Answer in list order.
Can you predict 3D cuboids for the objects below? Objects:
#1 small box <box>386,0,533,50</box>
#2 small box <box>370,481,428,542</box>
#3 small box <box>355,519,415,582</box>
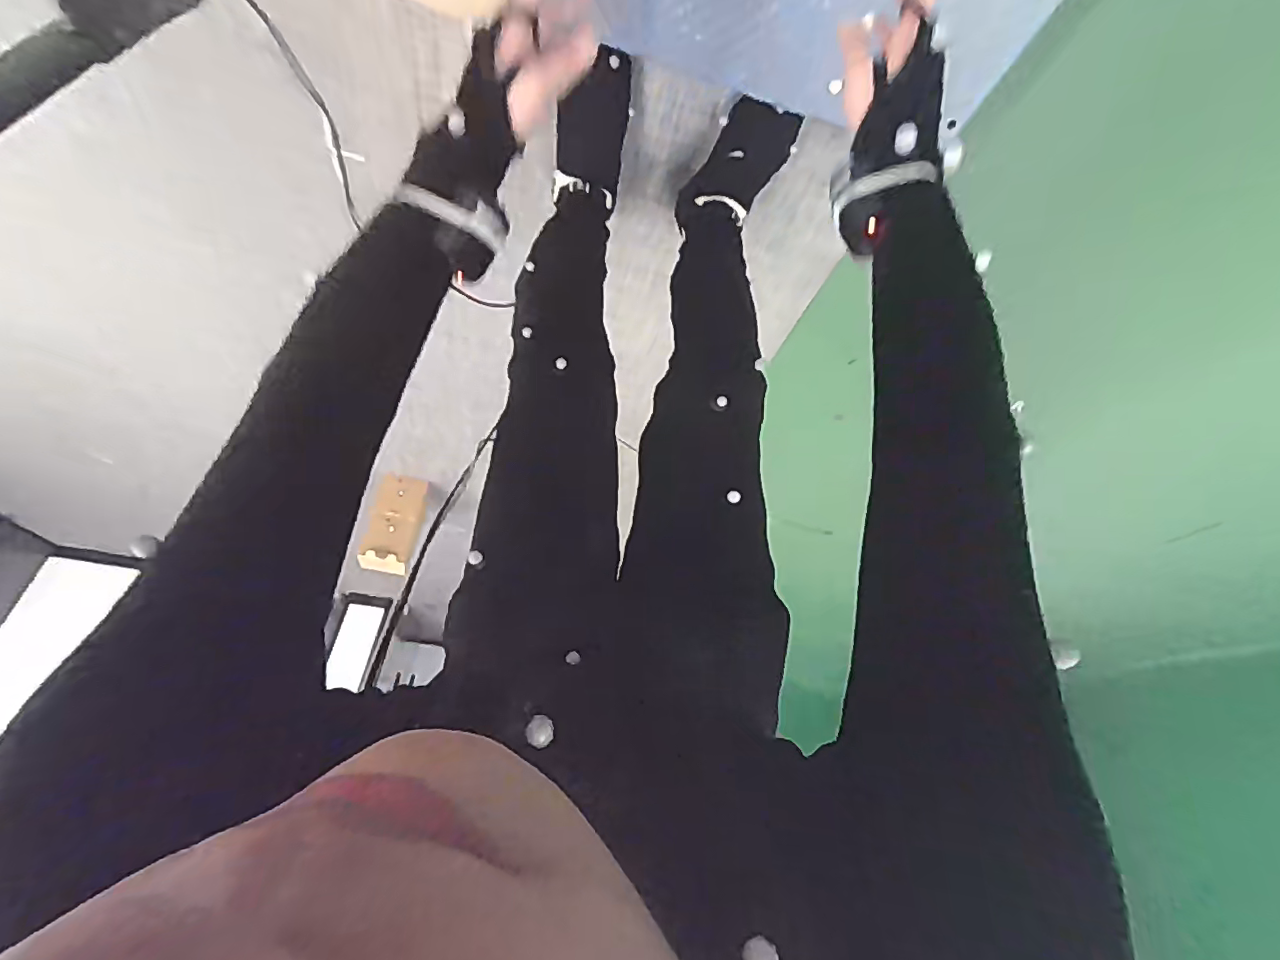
[{"bbox_3d":[-0.176,-0.558,0.501,0.179,0.176,0.168,14,149,-12],"label":"small box"},{"bbox_3d":[-0.943,0.123,2.129,0.168,0.176,0.179,14,148,-11],"label":"small box"},{"bbox_3d":[-0.963,0.269,2.053,0.168,0.176,0.179,15,148,-16],"label":"small box"}]
